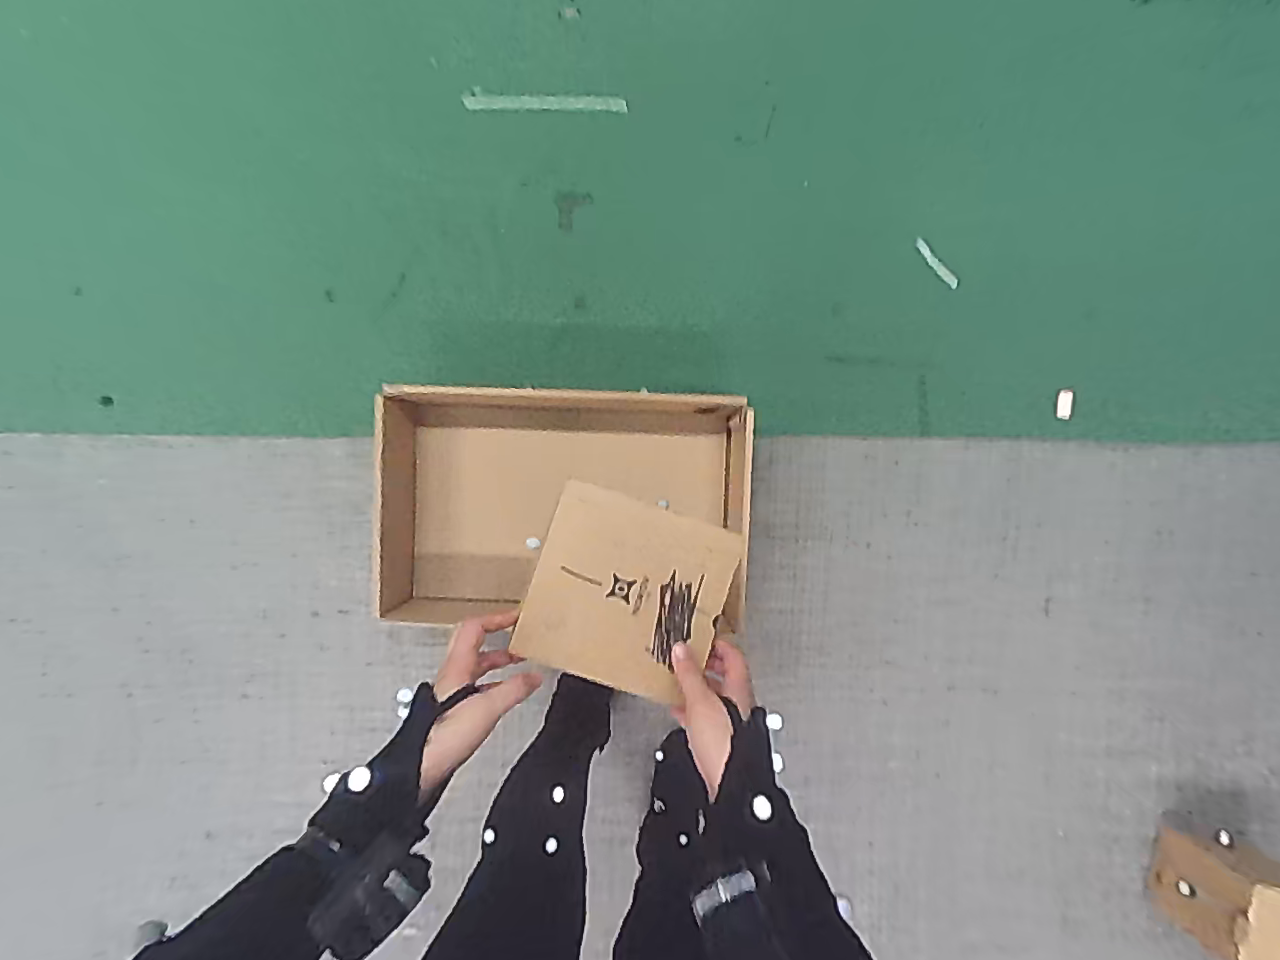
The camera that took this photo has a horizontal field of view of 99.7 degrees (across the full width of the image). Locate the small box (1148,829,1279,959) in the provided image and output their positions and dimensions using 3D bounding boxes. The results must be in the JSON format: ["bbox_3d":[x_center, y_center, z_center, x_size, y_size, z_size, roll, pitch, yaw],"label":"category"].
[{"bbox_3d":[1.102,0.783,0.992,0.179,0.176,0.168,13,91,0],"label":"small box"}]

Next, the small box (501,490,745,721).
[{"bbox_3d":[-0.023,0.112,0.550,0.179,0.176,0.168,20,86,-8],"label":"small box"}]
